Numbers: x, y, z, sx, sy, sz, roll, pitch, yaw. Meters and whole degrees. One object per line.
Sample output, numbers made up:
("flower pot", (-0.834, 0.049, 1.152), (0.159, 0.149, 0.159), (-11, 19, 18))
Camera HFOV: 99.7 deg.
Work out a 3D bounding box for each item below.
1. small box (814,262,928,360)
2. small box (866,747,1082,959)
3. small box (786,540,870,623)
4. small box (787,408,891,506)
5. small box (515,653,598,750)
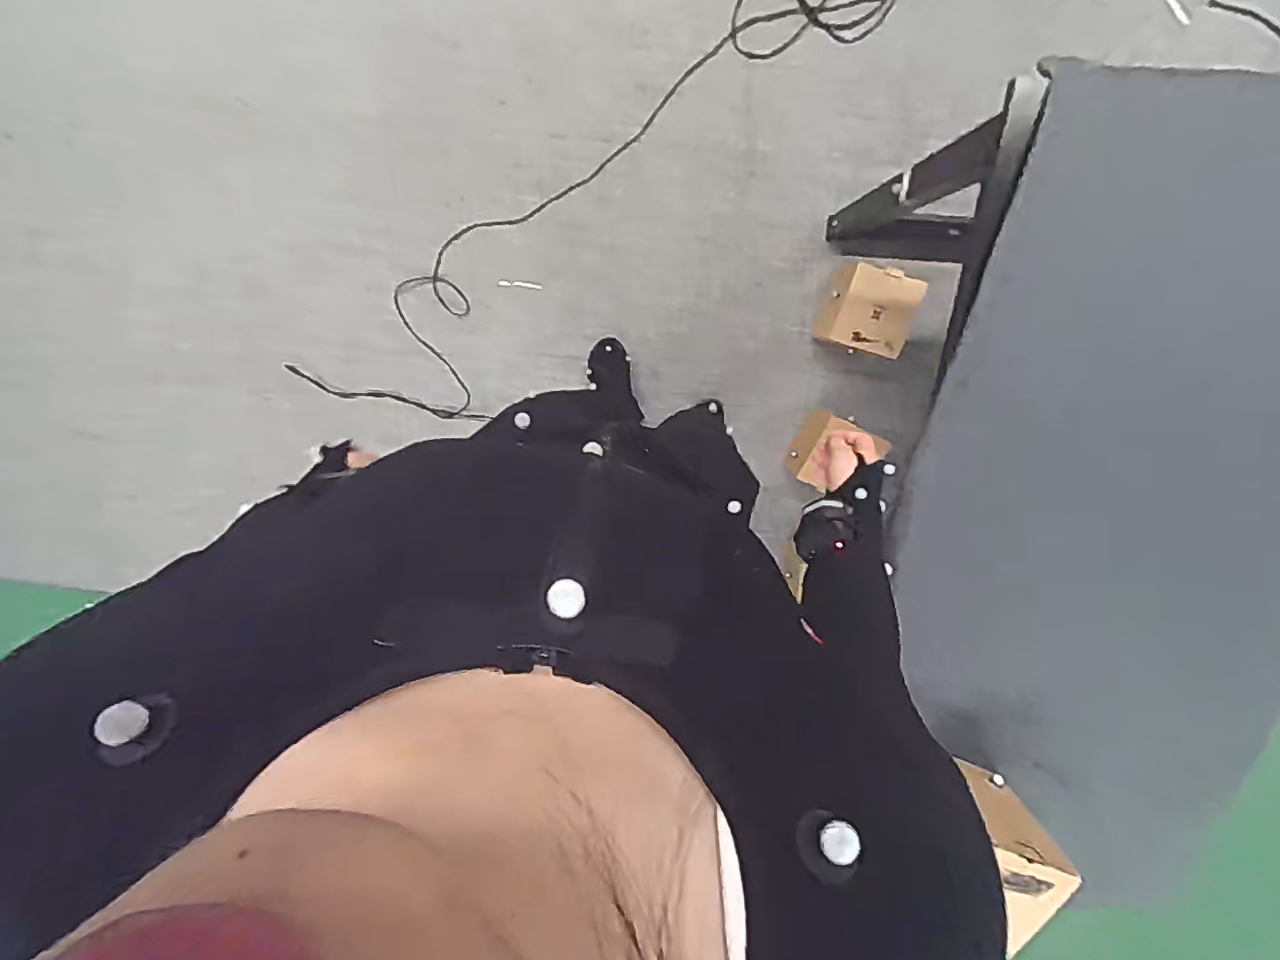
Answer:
("small box", (0.533, -0.395, 1.279), (0.168, 0.176, 0.179), (16, 105, -2))
("small box", (0.466, 0.532, 0.788), (0.168, 0.176, 0.179), (24, 105, -7))
("small box", (0.502, 0.272, 1.473), (0.179, 0.176, 0.168), (0, 107, 2))
("small box", (0.493, -0.064, 1.377), (0.168, 0.176, 0.179), (24, 104, -6))
("small box", (-0.241, 0.658, 1.618), (0.168, 0.176, 0.179), (-30, 102, 10))
